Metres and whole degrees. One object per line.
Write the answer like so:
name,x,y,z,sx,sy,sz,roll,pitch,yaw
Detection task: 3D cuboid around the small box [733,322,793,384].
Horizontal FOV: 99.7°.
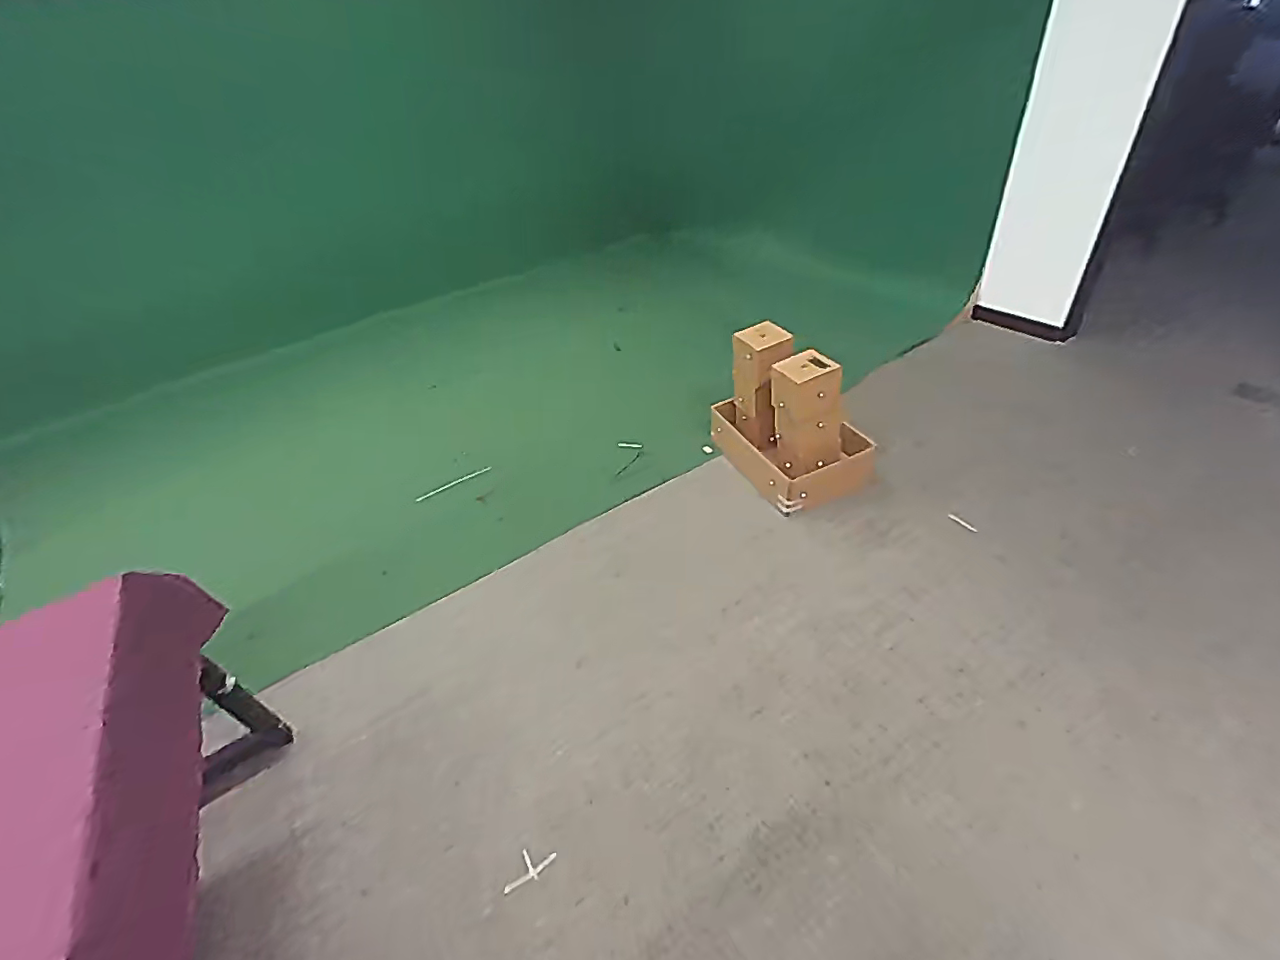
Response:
small box,0.487,-0.499,2.146,0.168,0.176,0.179,-23,42,-13

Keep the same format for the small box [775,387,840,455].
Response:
small box,0.628,-0.219,2.037,0.179,0.176,0.168,-22,40,-14

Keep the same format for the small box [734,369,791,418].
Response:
small box,0.510,-0.386,2.264,0.179,0.176,0.168,-23,42,-12
